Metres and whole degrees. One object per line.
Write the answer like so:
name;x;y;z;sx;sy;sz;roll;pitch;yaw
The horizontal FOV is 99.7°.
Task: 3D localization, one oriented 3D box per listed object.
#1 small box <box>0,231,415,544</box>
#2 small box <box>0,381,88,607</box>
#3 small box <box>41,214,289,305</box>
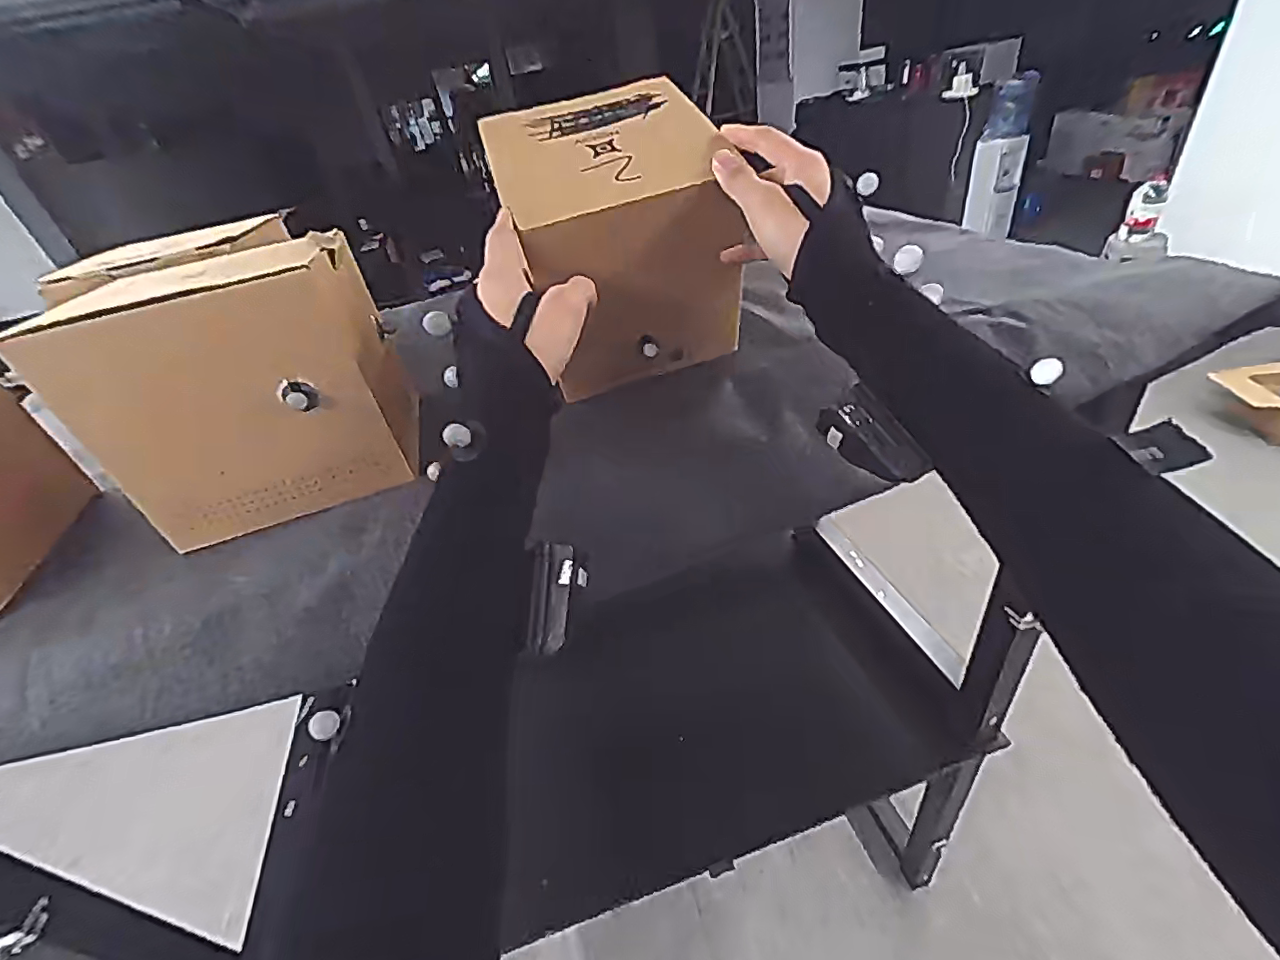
small box;-0.292;-0.079;0.423;0.179;0.176;0.168;-18;34;-11
small box;-0.555;0.012;0.372;0.168;0.176;0.179;-19;37;-11
small box;-0.451;-0.169;0.589;0.168;0.176;0.179;-17;36;-8
